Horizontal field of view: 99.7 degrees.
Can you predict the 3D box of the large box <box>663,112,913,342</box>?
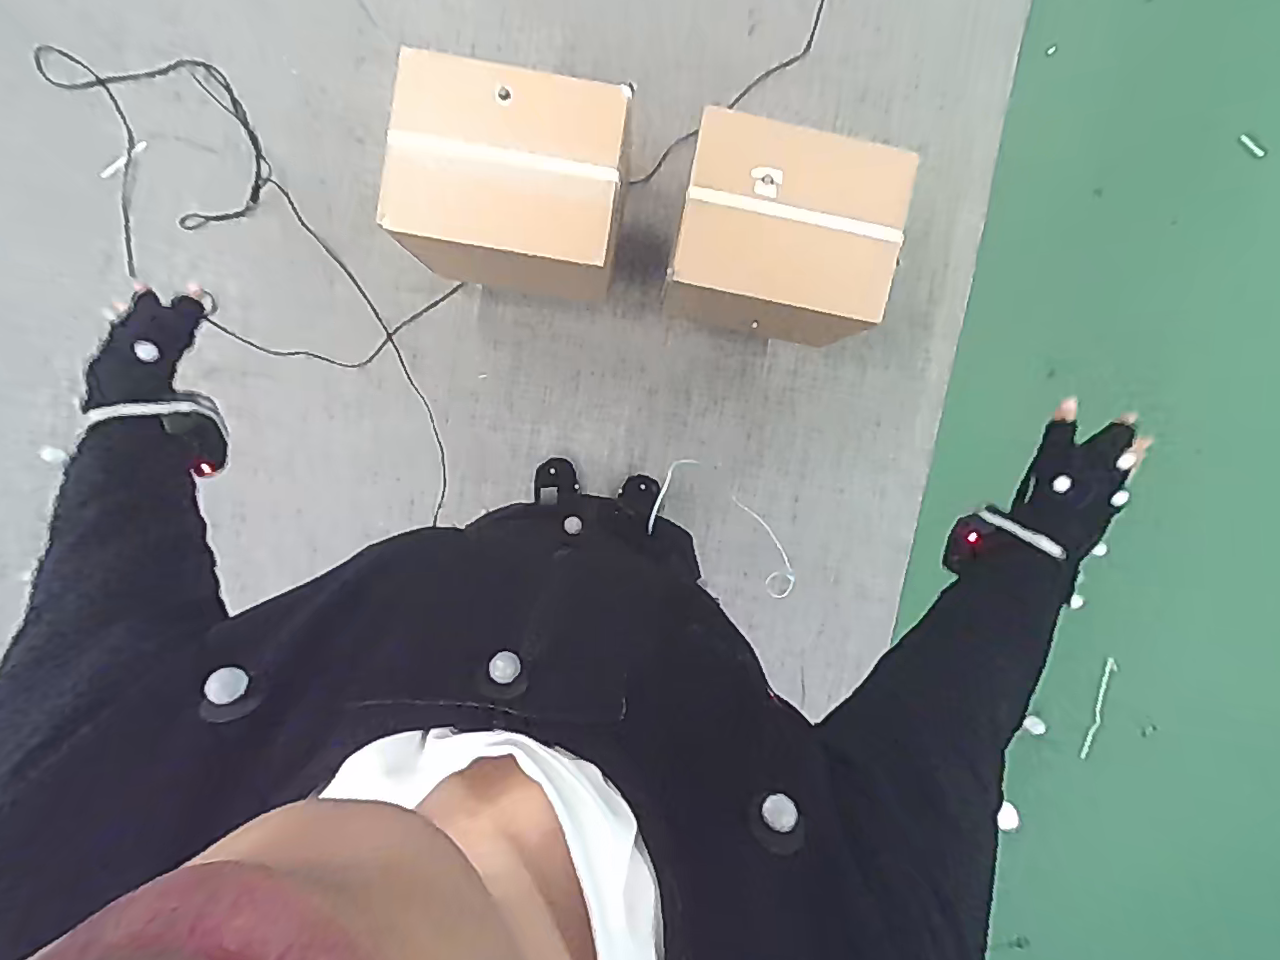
[{"bbox_3d":[0.281,-0.499,1.148,0.408,0.320,0.320,11,95,-3],"label":"large box"}]
